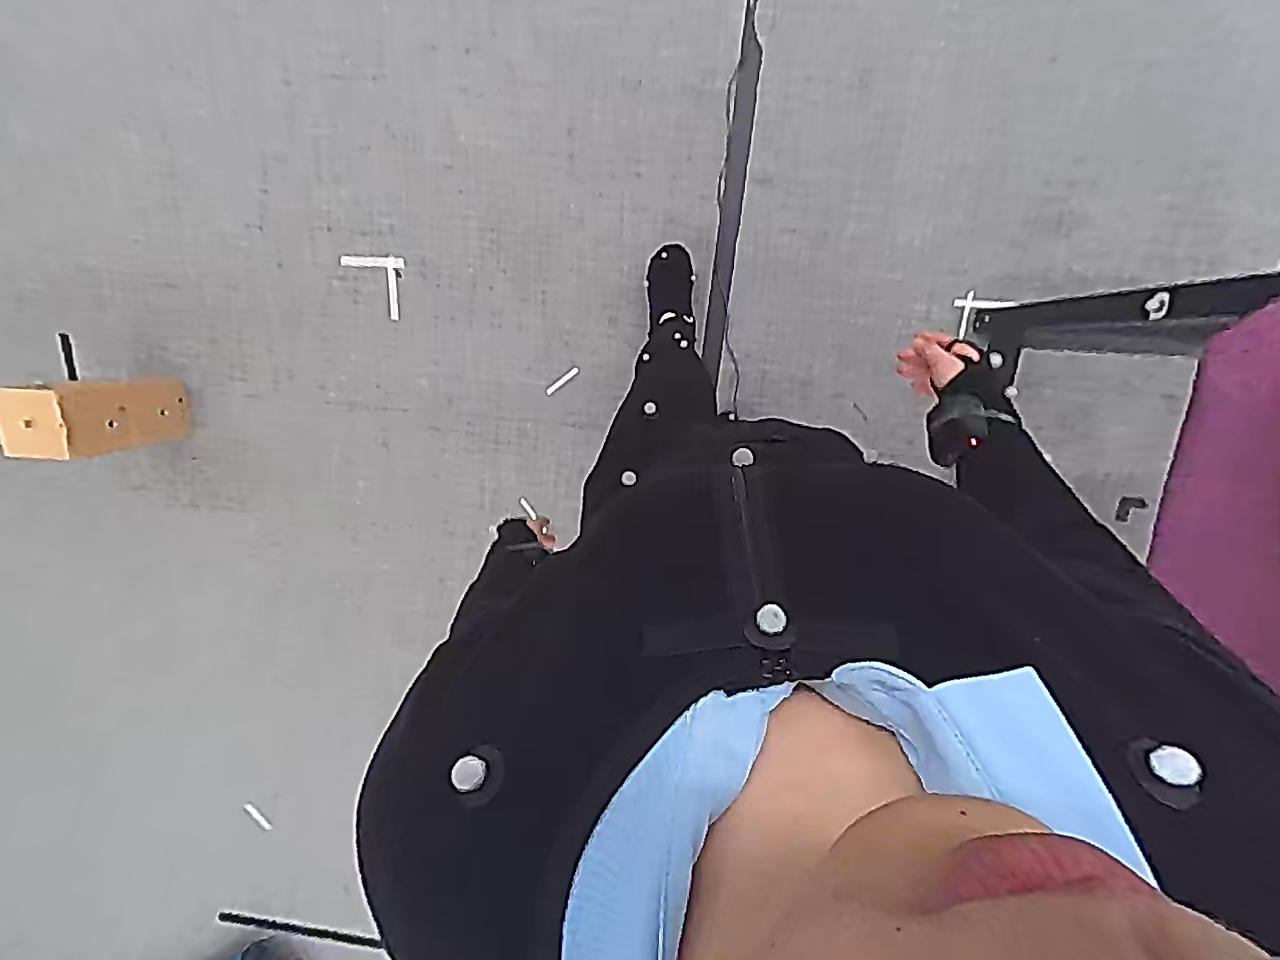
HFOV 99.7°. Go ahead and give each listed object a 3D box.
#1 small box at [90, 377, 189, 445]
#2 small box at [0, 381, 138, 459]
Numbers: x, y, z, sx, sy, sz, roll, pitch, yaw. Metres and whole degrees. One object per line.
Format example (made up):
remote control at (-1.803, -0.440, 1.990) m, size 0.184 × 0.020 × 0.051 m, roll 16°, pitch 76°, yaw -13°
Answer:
small box at (-1.400, -0.195, 1.496) m, size 0.179 × 0.176 × 0.168 m, roll 2°, pitch 104°, yaw 5°
small box at (-1.416, -0.154, 1.340) m, size 0.179 × 0.176 × 0.168 m, roll 3°, pitch 105°, yaw 4°
